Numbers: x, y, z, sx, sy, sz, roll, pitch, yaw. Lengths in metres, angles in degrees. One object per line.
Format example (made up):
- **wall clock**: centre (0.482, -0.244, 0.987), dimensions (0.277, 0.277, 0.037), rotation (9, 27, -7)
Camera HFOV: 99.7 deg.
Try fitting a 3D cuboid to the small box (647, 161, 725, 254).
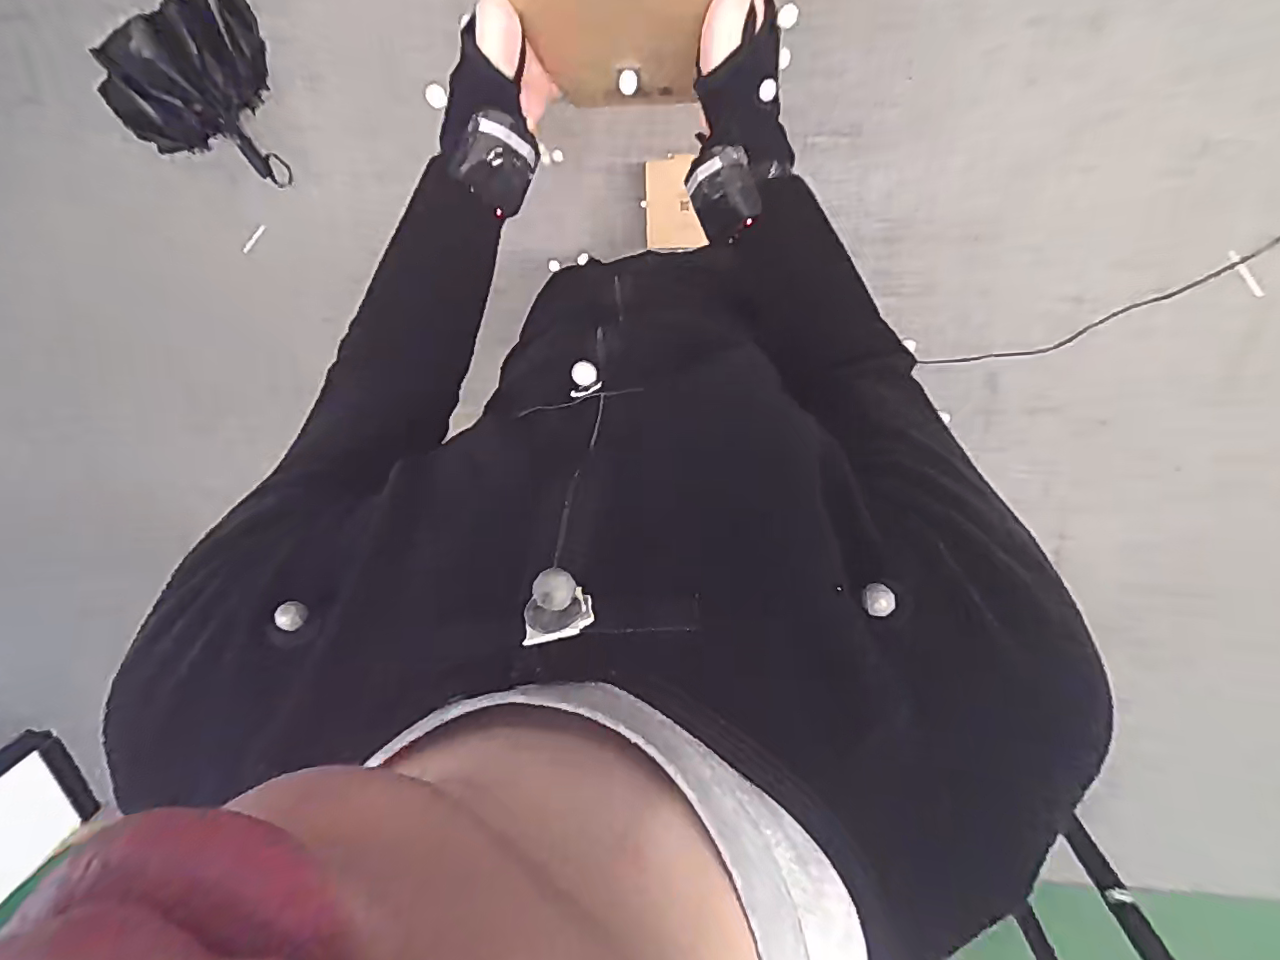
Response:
- **small box**: centre (0.105, -0.614, 1.234), dimensions (0.168, 0.176, 0.179), rotation (1, 114, 7)
